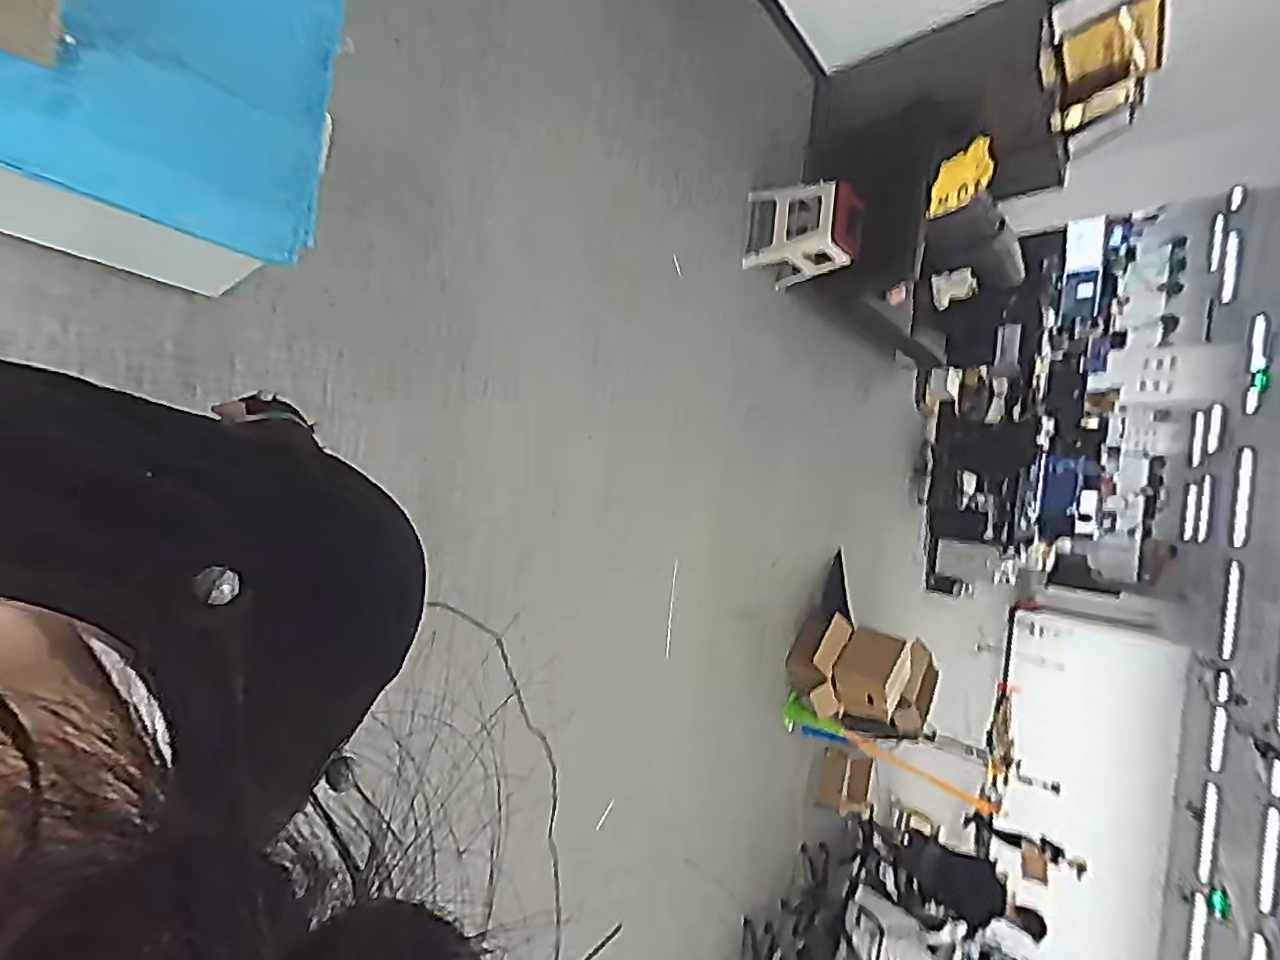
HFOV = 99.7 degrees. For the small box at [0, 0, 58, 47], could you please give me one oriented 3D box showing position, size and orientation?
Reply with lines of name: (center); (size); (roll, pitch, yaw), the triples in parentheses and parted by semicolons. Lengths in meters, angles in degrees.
small box: (-0.658, -0.554, 0.499); (0.179, 0.176, 0.168); (9, 87, -48)
